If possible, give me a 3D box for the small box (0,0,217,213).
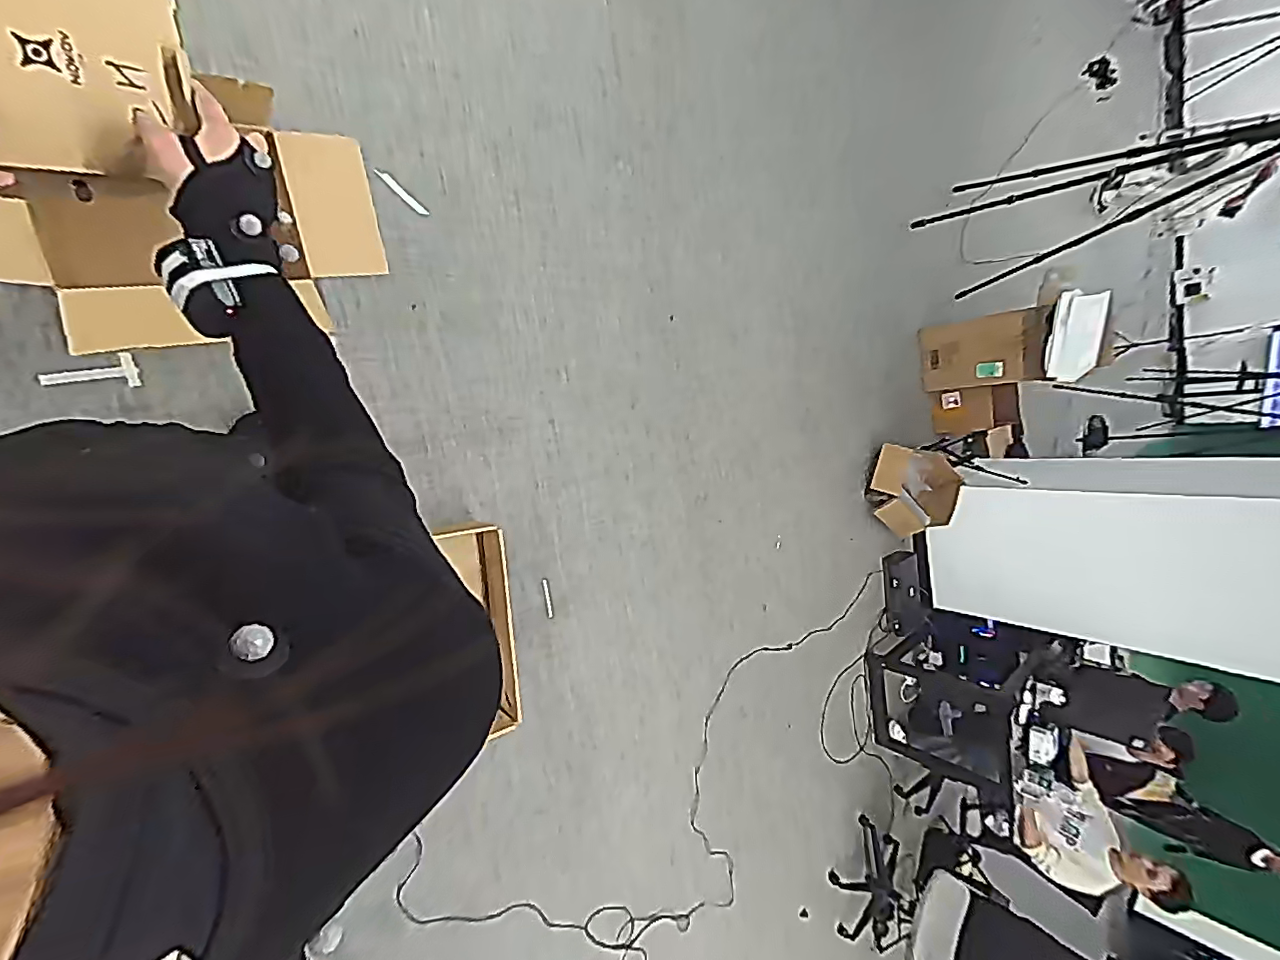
[{"bbox_3d":[-0.507,-0.347,0.488,0.179,0.176,0.168,-13,112,-35],"label":"small box"}]
